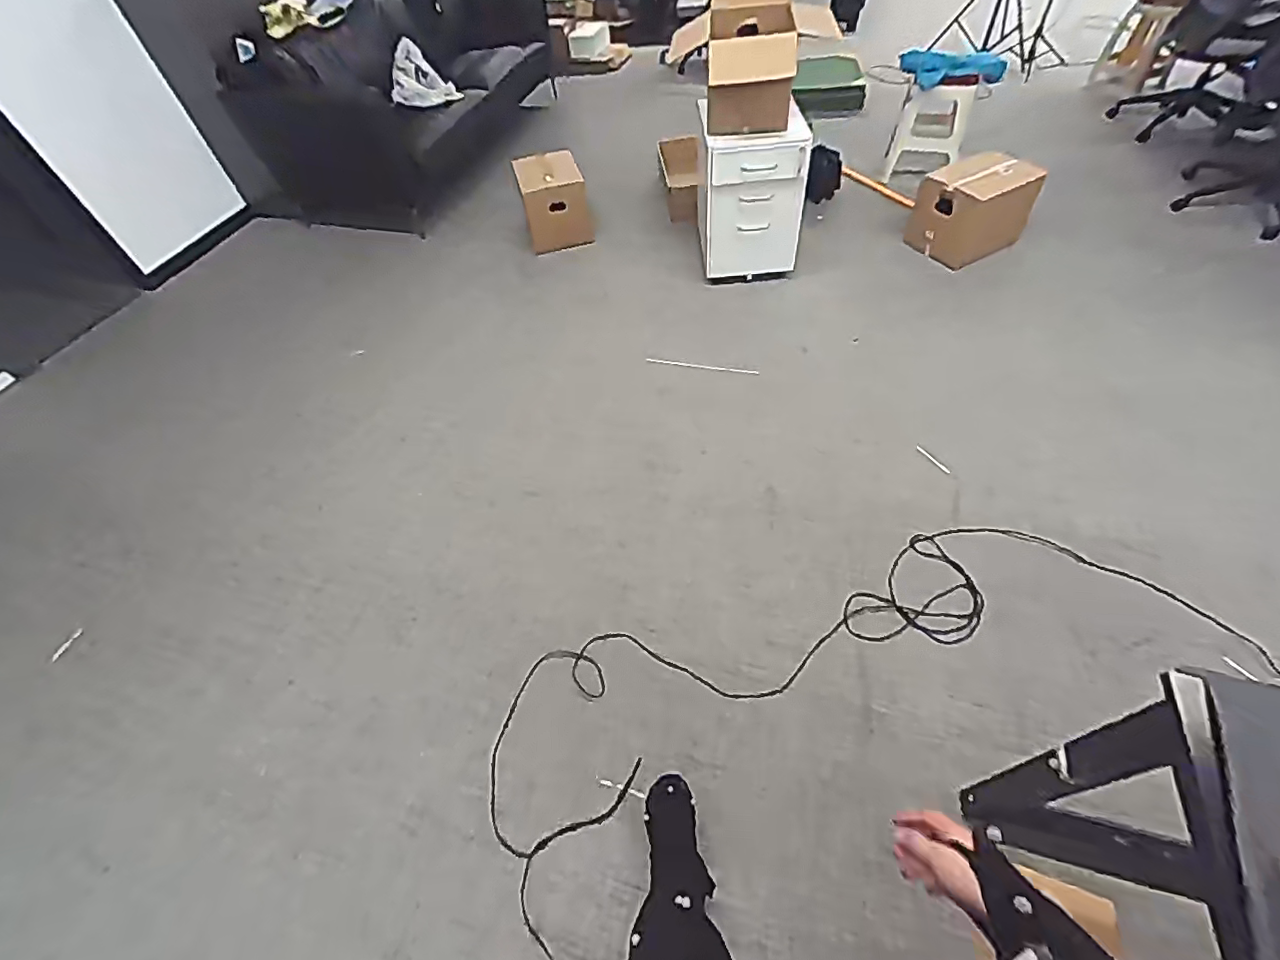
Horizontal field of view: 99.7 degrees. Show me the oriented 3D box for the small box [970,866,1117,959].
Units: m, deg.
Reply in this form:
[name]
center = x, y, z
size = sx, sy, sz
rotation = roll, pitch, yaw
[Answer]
[small box]
center = 0.741, 0.857, 1.008
size = 0.179, 0.176, 0.168
rotation = 15, 54, 16
